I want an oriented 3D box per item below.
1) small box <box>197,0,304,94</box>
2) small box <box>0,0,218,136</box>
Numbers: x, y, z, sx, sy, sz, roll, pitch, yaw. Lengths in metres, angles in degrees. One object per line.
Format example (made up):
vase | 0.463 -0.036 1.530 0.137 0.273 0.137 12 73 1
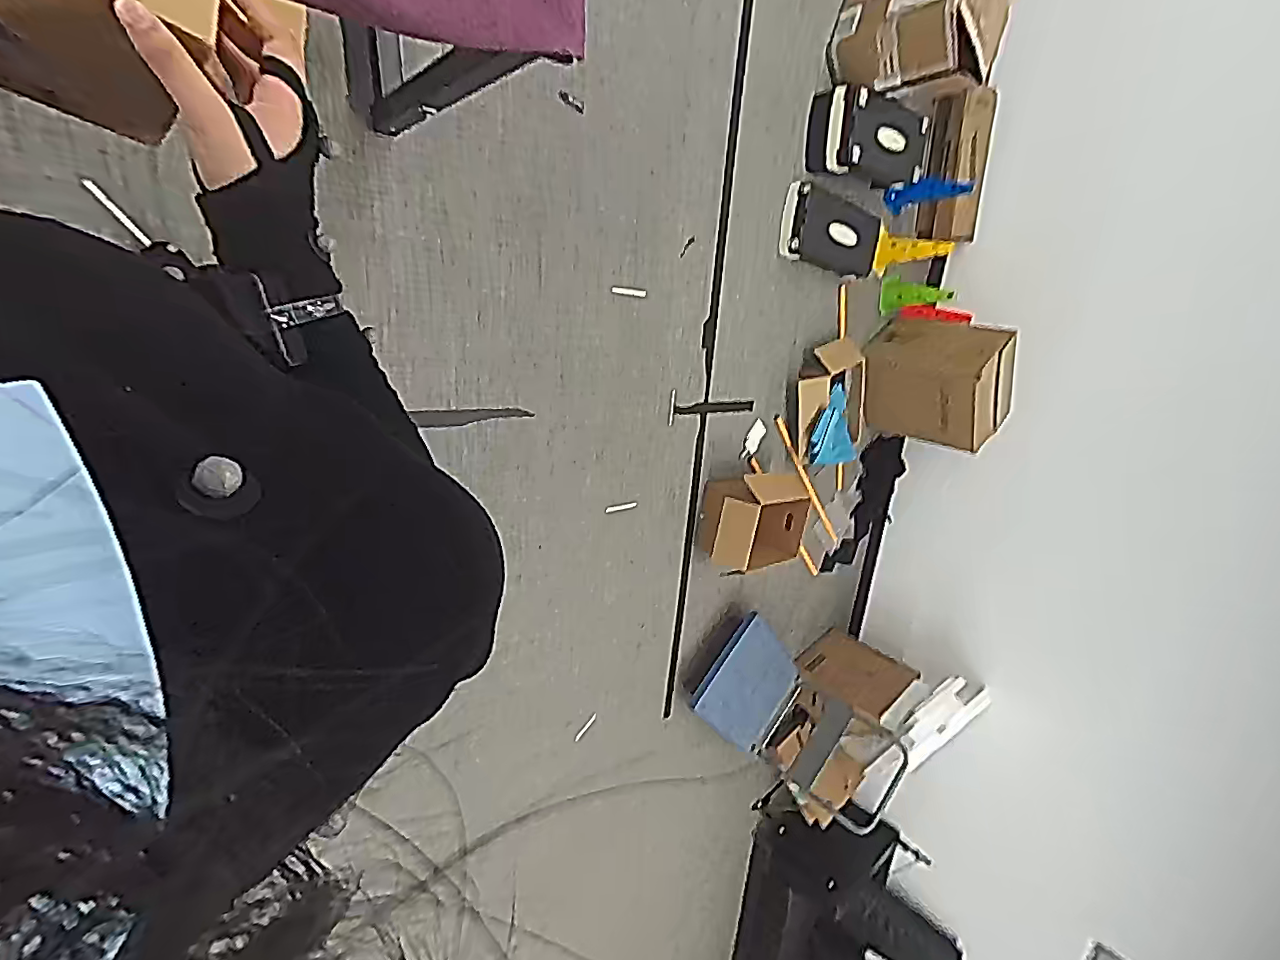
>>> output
small box | -0.741 -0.862 1.008 0.168 0.176 0.179 0 105 -43
small box | -0.357 -0.344 0.307 0.168 0.176 0.179 5 86 -51
